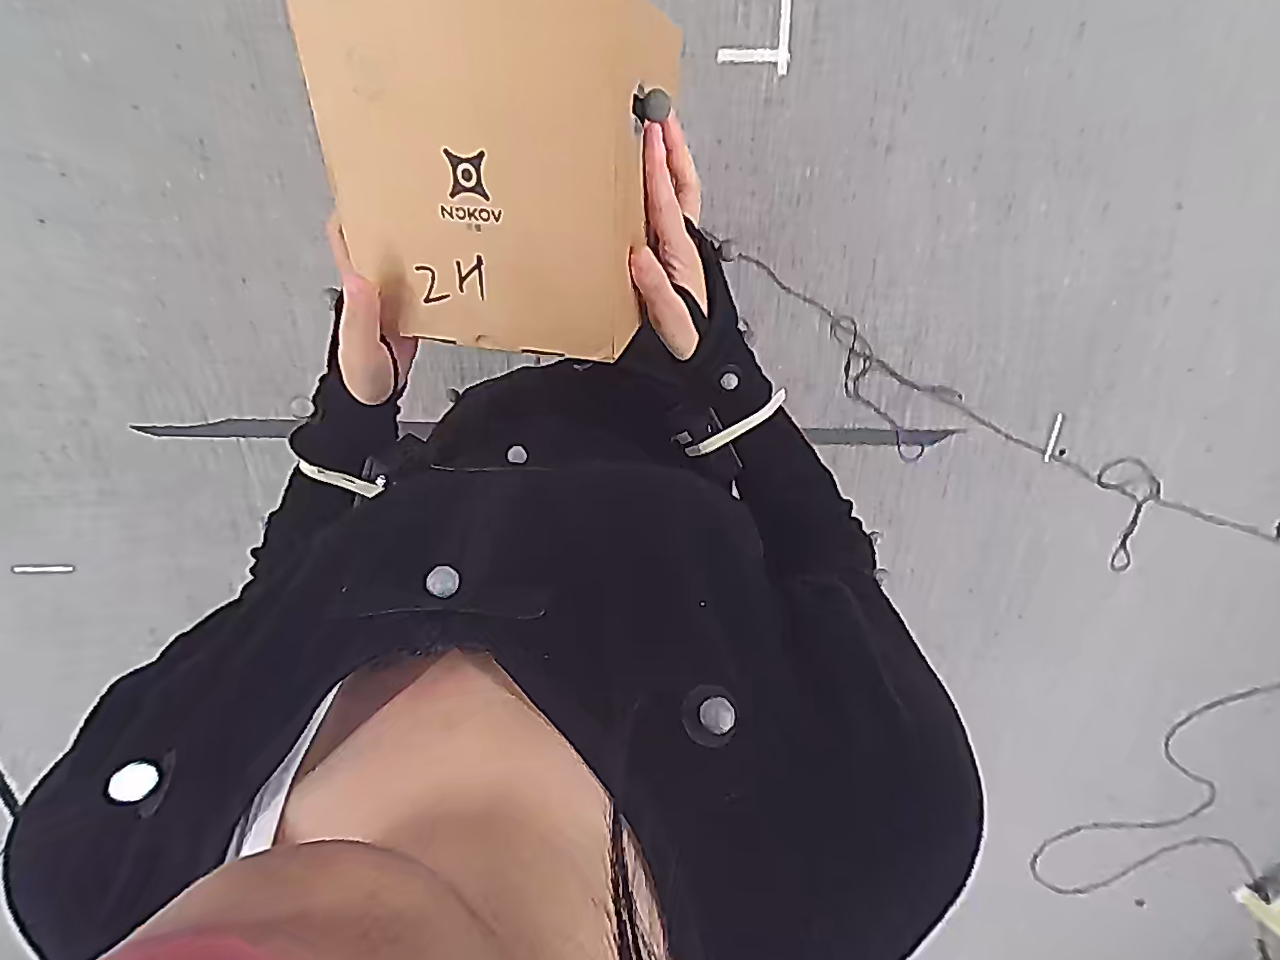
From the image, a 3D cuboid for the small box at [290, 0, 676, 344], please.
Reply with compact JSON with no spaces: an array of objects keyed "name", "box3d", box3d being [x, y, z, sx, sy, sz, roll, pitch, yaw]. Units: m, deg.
[{"name":"small box","box3d":[-0.074,-0.206,0.345,0.168,0.176,0.179,9,124,9]}]
